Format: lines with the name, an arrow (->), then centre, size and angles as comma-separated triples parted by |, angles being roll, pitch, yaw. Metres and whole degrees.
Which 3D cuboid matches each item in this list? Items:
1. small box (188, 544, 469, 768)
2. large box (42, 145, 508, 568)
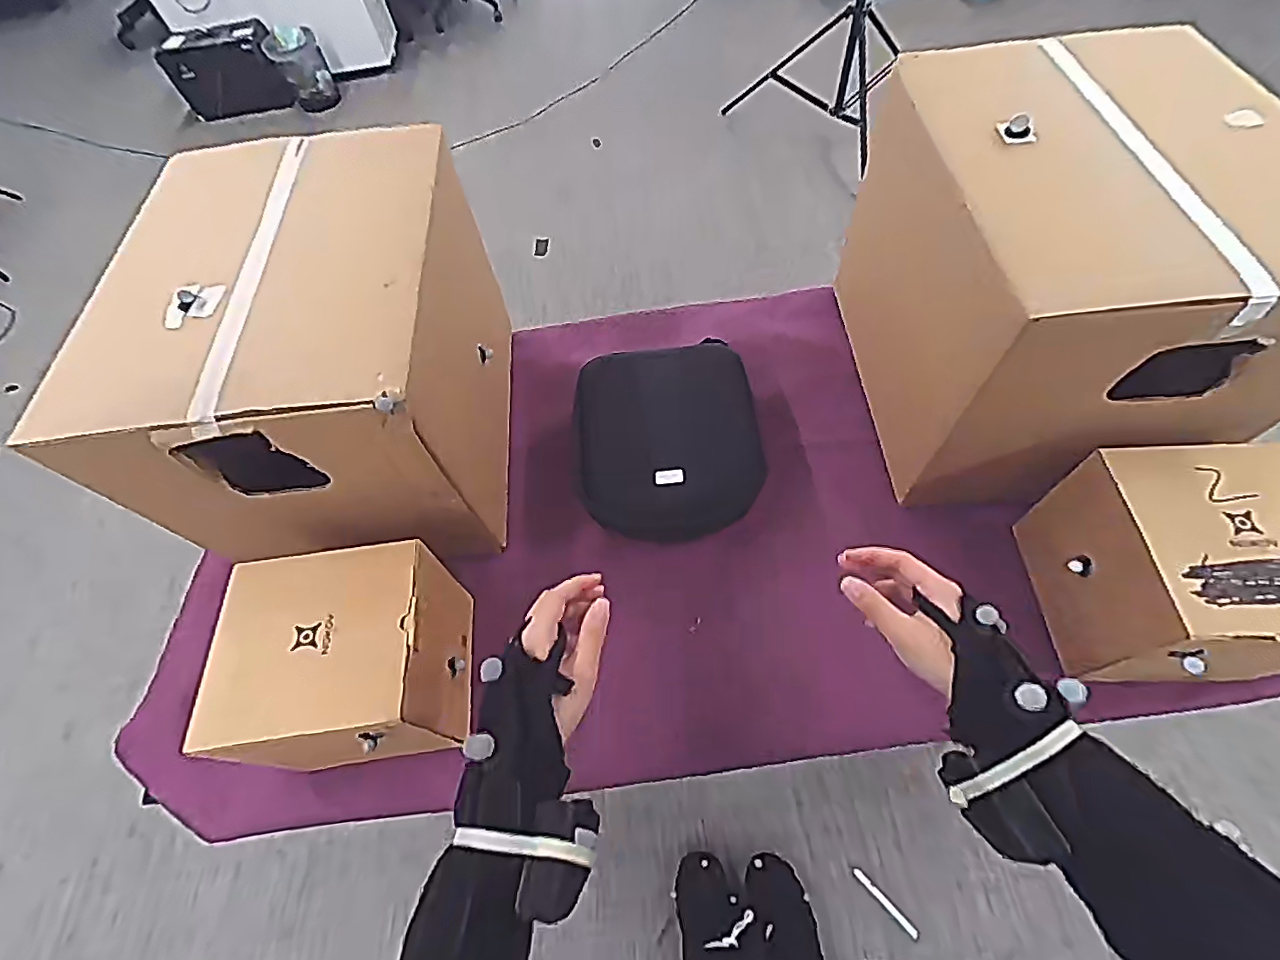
small box -> -0.288, 0.185, 0.549 | 0.179, 0.176, 0.168 | -8, 58, -3
large box -> -0.351, -0.128, 0.661 | 0.320, 0.320, 0.408 | -8, 62, 0
